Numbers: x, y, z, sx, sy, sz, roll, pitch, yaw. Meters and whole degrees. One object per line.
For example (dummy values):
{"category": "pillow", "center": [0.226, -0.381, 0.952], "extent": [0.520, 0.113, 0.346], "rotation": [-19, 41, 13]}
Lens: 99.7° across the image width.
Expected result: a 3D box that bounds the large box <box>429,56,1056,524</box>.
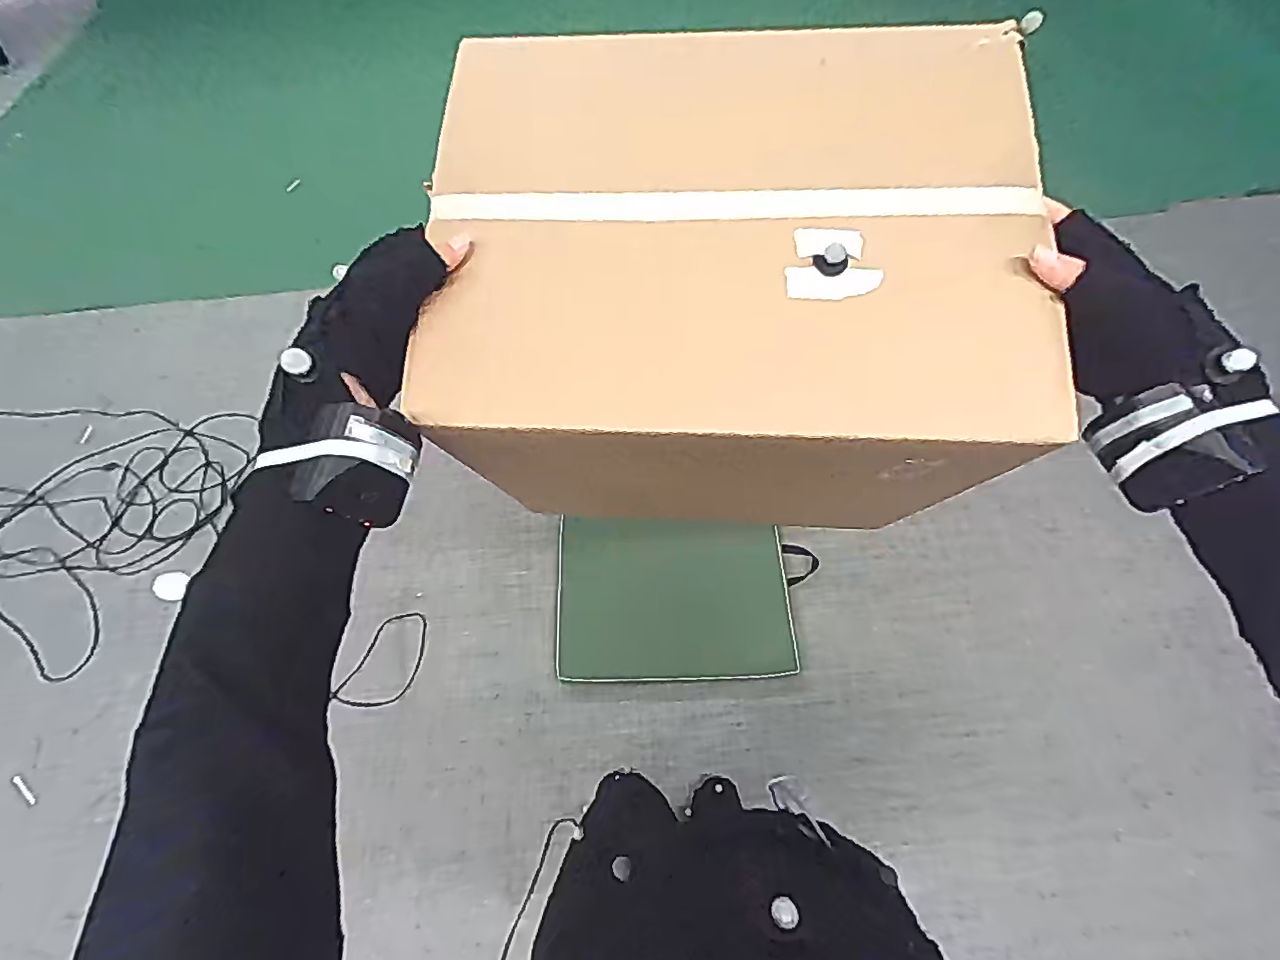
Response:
{"category": "large box", "center": [0.070, -0.138, 0.522], "extent": [0.408, 0.320, 0.320], "rotation": [2, 76, 4]}
